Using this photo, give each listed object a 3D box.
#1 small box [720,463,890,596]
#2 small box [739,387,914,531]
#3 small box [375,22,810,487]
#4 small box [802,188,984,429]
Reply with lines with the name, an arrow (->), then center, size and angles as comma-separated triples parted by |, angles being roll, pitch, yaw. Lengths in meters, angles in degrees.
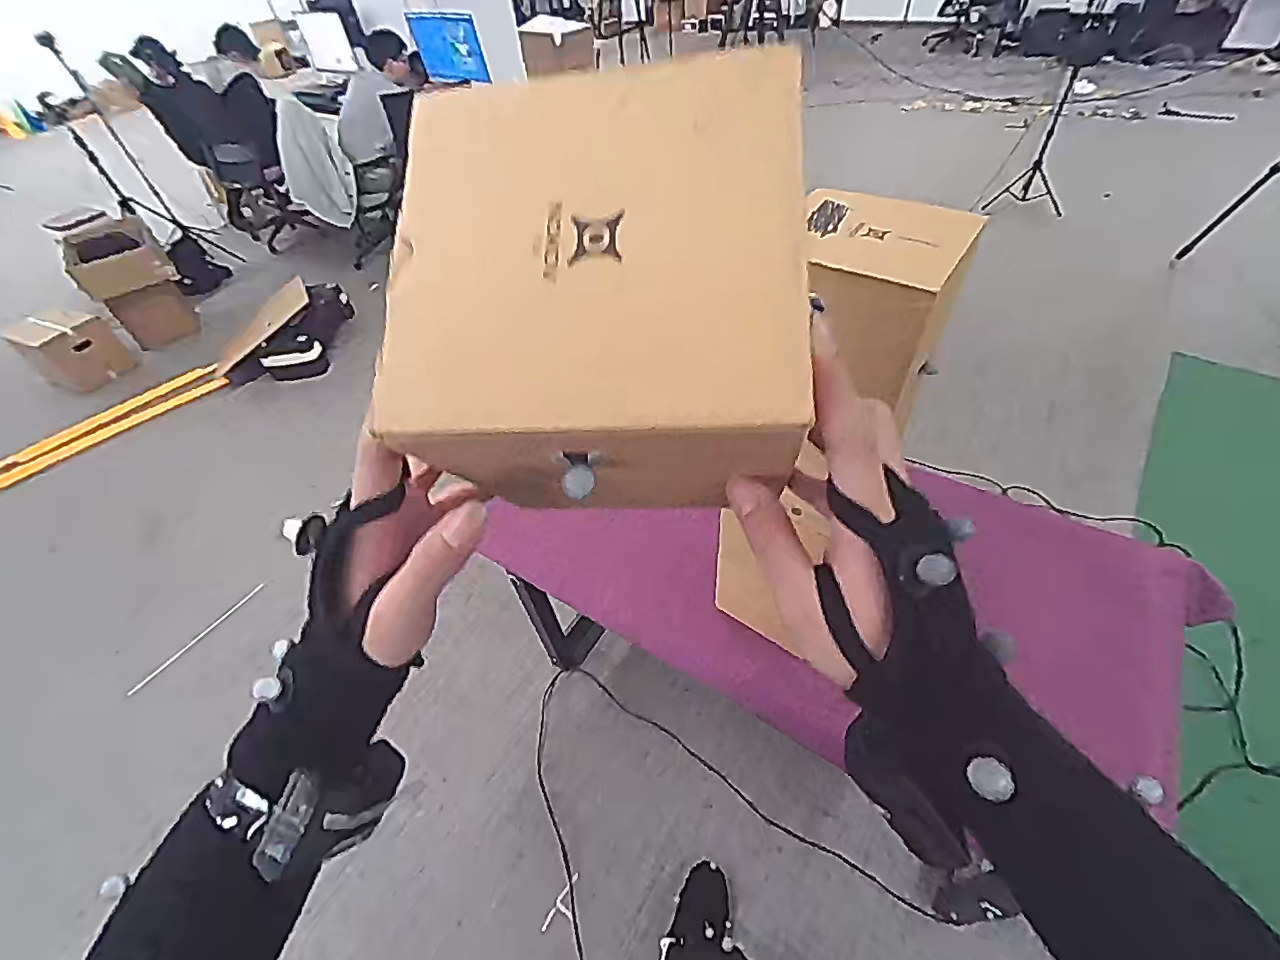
small box -> 0.235, 0.046, 0.804 | 0.179, 0.176, 0.168 | 28, 56, 28
small box -> 0.226, -0.067, 0.687 | 0.168, 0.176, 0.179 | 28, 57, 27
small box -> -0.007, -0.093, 0.300 | 0.179, 0.176, 0.168 | 0, 78, 11
small box -> 0.215, -0.180, 0.567 | 0.179, 0.176, 0.168 | 27, 55, 26
